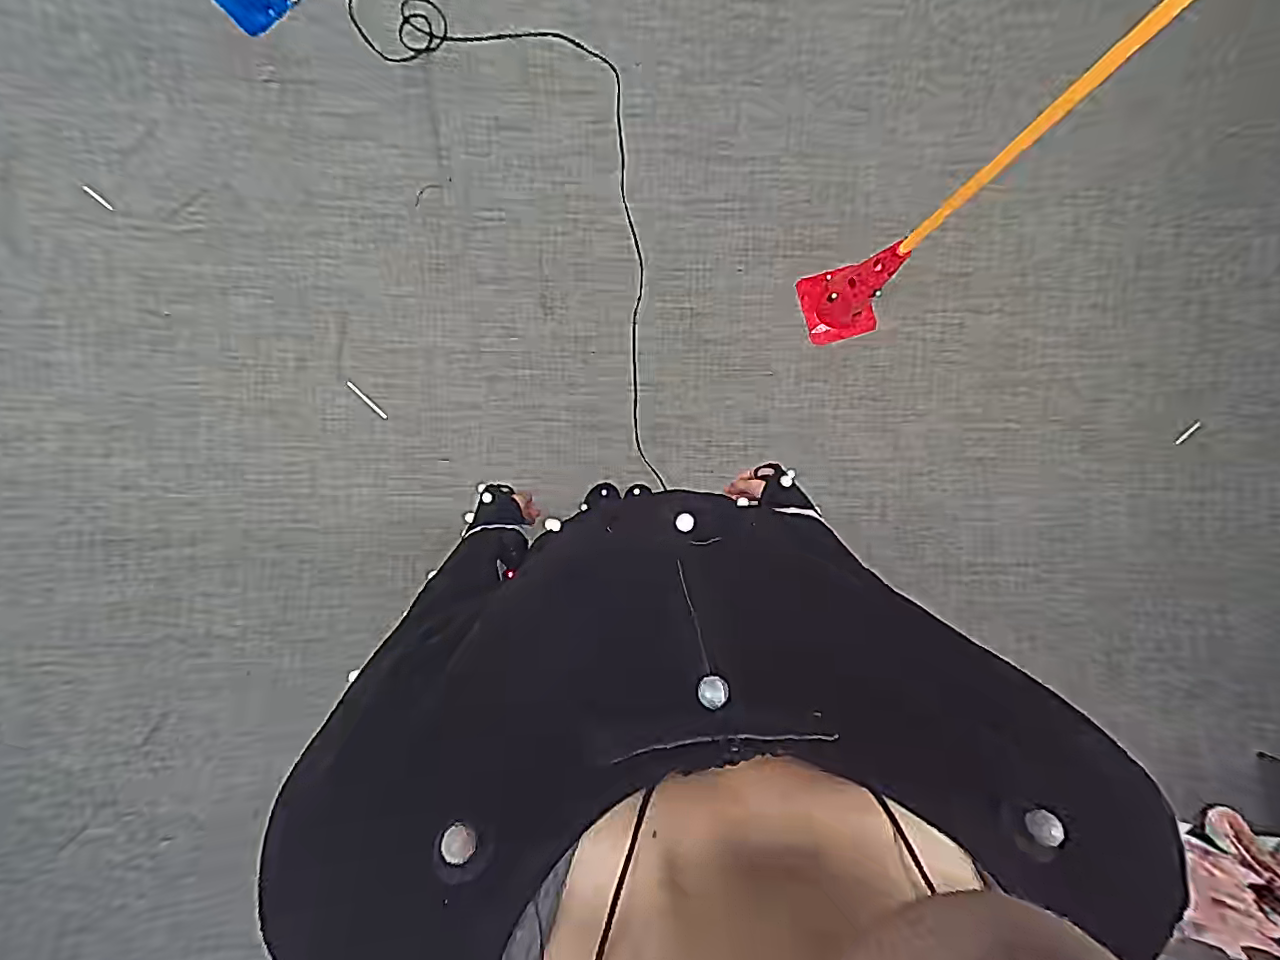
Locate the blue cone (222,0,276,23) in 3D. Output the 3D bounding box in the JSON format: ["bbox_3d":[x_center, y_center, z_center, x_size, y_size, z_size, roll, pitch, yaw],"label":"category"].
[{"bbox_3d":[-1.041,-1.337,1.282,0.192,0.380,0.193,45,89,-3],"label":"blue cone"}]
